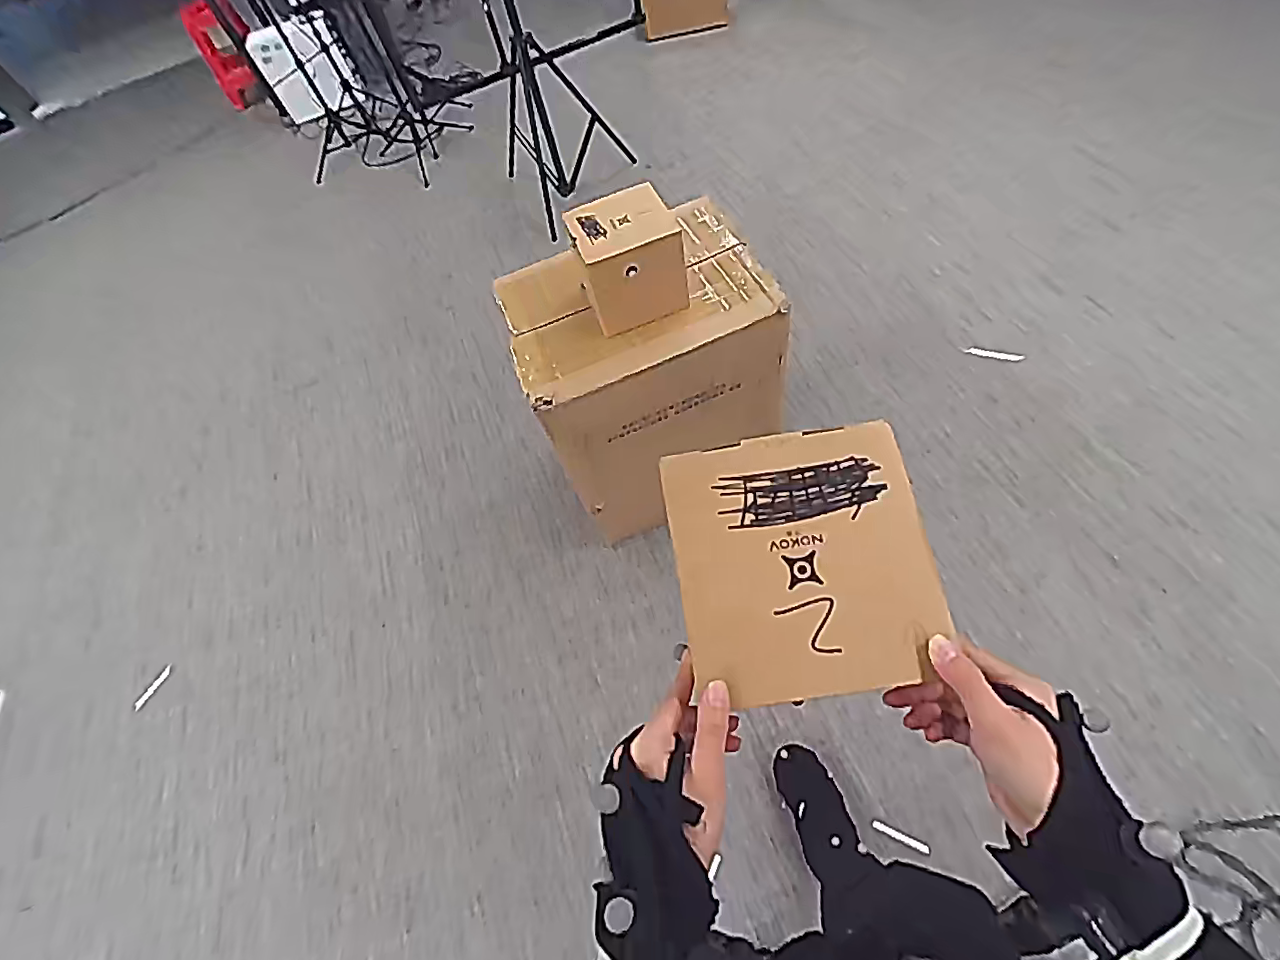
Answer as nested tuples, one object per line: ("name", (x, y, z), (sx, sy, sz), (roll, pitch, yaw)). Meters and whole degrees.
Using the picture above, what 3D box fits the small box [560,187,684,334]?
("small box", (-0.029, -0.405, 1.016), (0.179, 0.176, 0.168), (-22, 58, -2))
